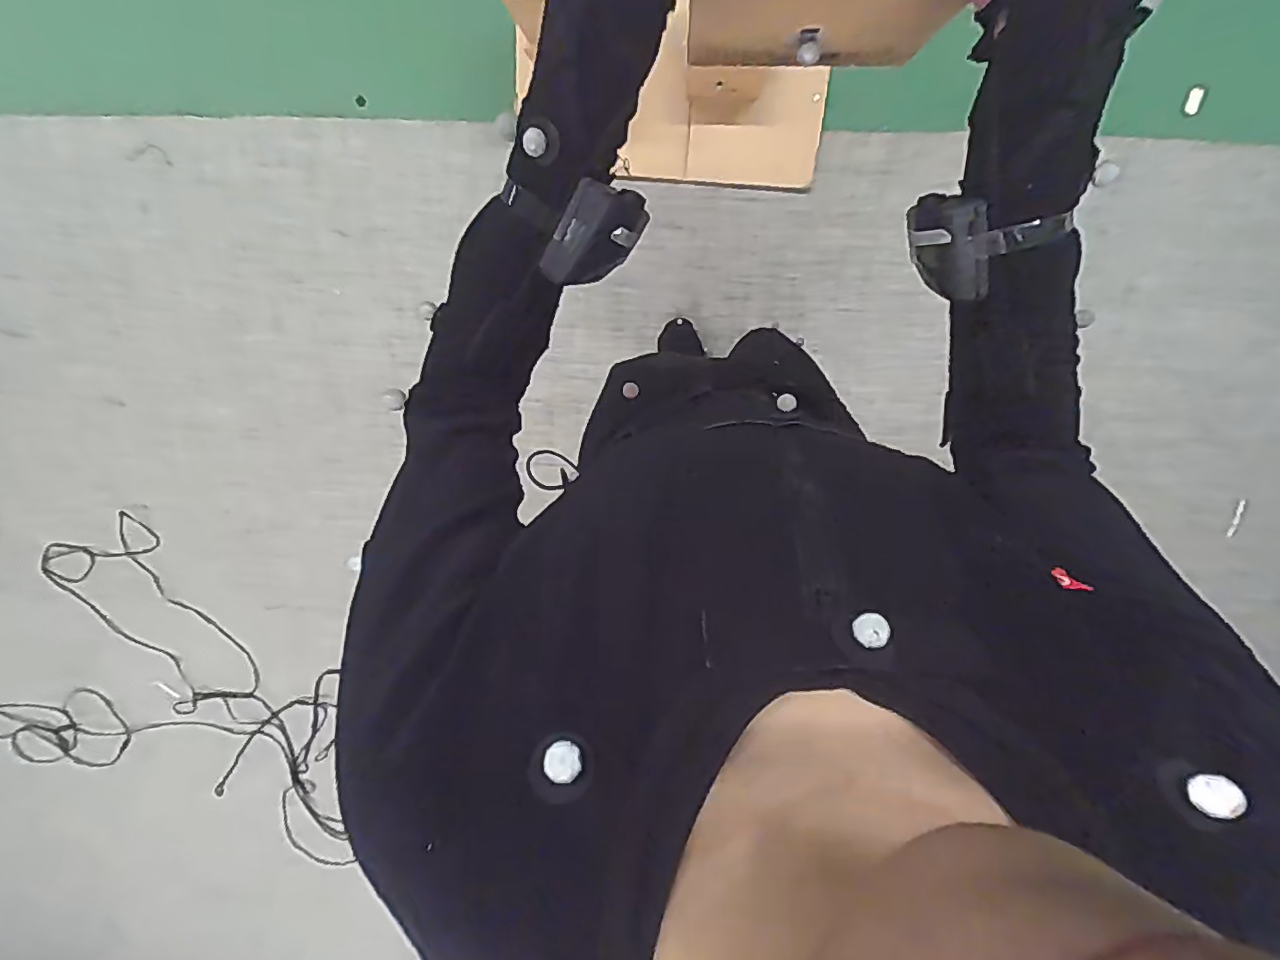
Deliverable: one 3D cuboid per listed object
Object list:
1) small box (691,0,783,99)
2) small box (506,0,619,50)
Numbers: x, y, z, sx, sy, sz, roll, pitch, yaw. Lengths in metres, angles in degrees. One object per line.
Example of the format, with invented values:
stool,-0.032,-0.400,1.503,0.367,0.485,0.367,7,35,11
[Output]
small box,0.193,-0.918,1.107,0.168,0.176,0.179,3,107,3
small box,-0.128,-0.900,0.959,0.179,0.176,0.168,8,107,4
